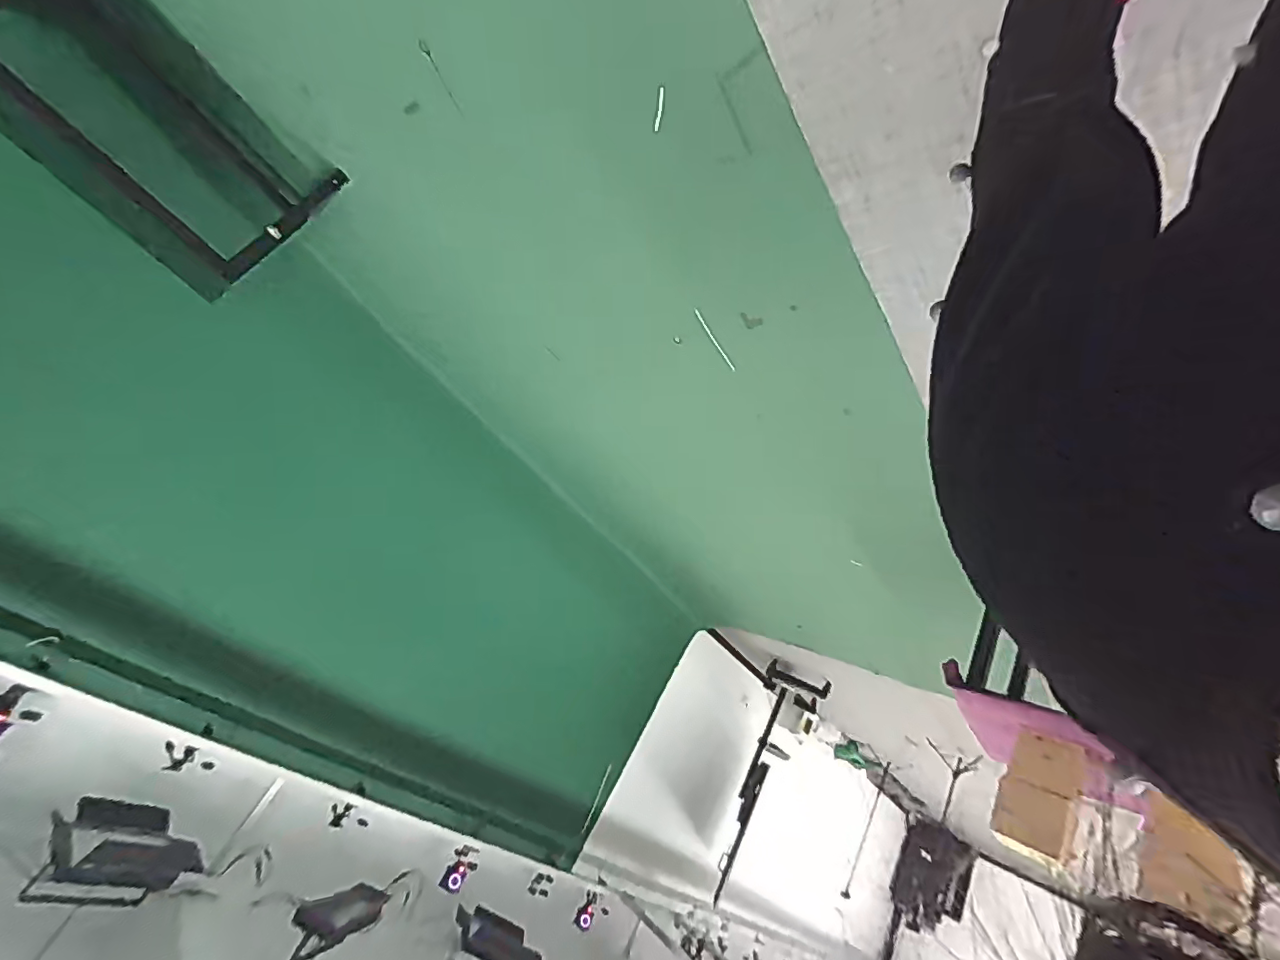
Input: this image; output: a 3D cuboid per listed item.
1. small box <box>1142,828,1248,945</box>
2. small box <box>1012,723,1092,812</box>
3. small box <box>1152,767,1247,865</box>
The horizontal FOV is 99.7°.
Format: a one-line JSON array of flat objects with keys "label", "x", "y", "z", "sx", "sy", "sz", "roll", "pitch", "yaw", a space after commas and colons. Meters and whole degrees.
[{"label": "small box", "x": 1.407, "y": 1.027, "z": 1.374, "sx": 0.179, "sy": 0.176, "sz": 0.168, "roll": 6, "pitch": 148, "yaw": 48}, {"label": "small box", "x": 1.276, "y": 0.883, "z": 1.671, "sx": 0.168, "sy": 0.176, "sz": 0.179, "roll": 6, "pitch": 147, "yaw": 47}, {"label": "small box", "x": 1.487, "y": 0.897, "z": 1.437, "sx": 0.168, "sy": 0.176, "sz": 0.179, "roll": 2, "pitch": 145, "yaw": 50}]
